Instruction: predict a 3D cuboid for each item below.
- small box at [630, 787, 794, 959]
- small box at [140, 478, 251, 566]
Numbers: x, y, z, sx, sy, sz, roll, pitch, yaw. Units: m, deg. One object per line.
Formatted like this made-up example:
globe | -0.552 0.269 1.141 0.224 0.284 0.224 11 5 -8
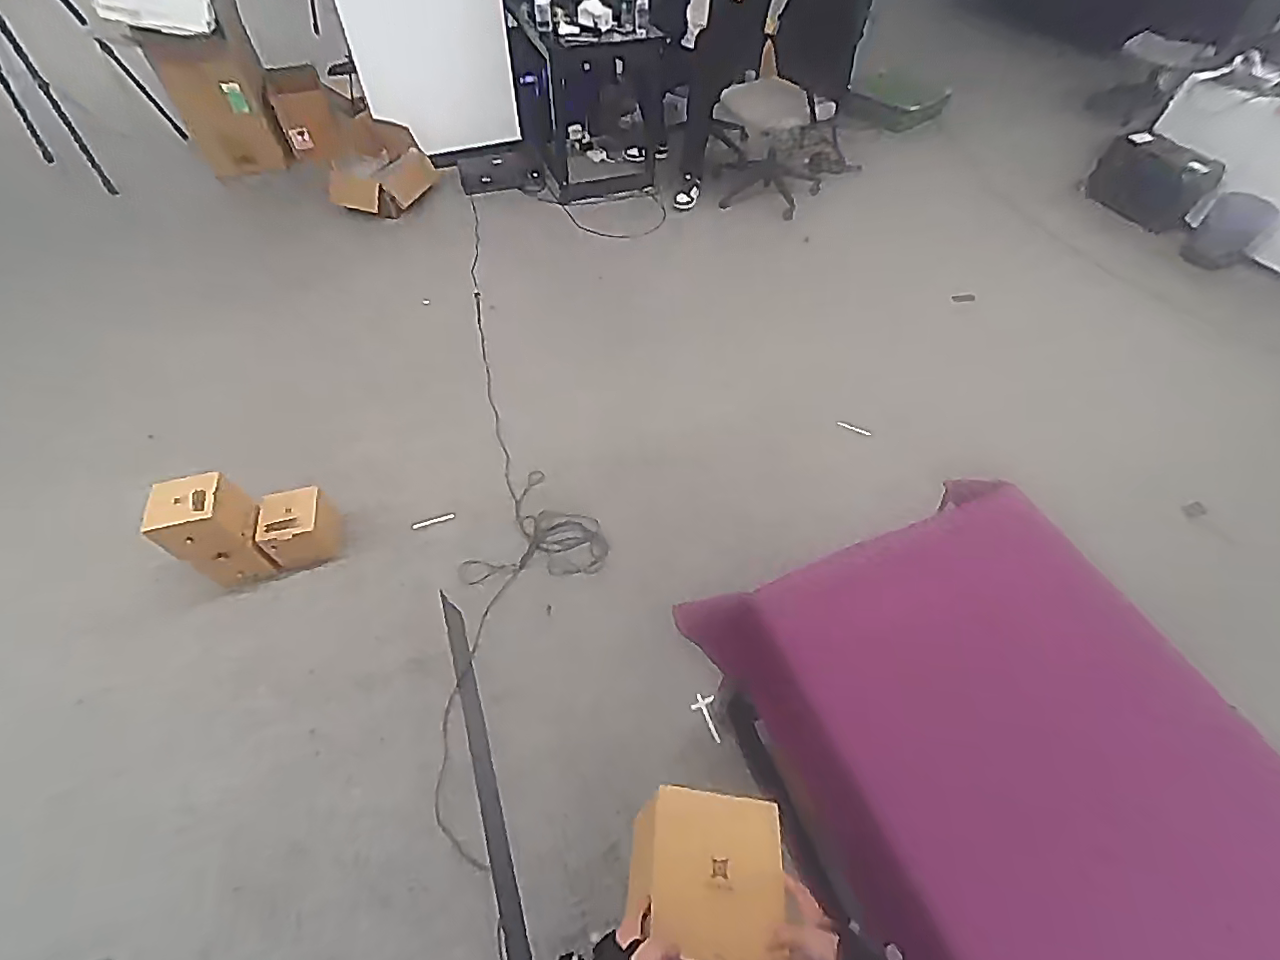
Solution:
small box | 0.085 0.532 0.707 0.168 0.176 0.179 11 45 -4
small box | -1.252 0.122 1.541 0.179 0.176 0.168 -14 55 -10
